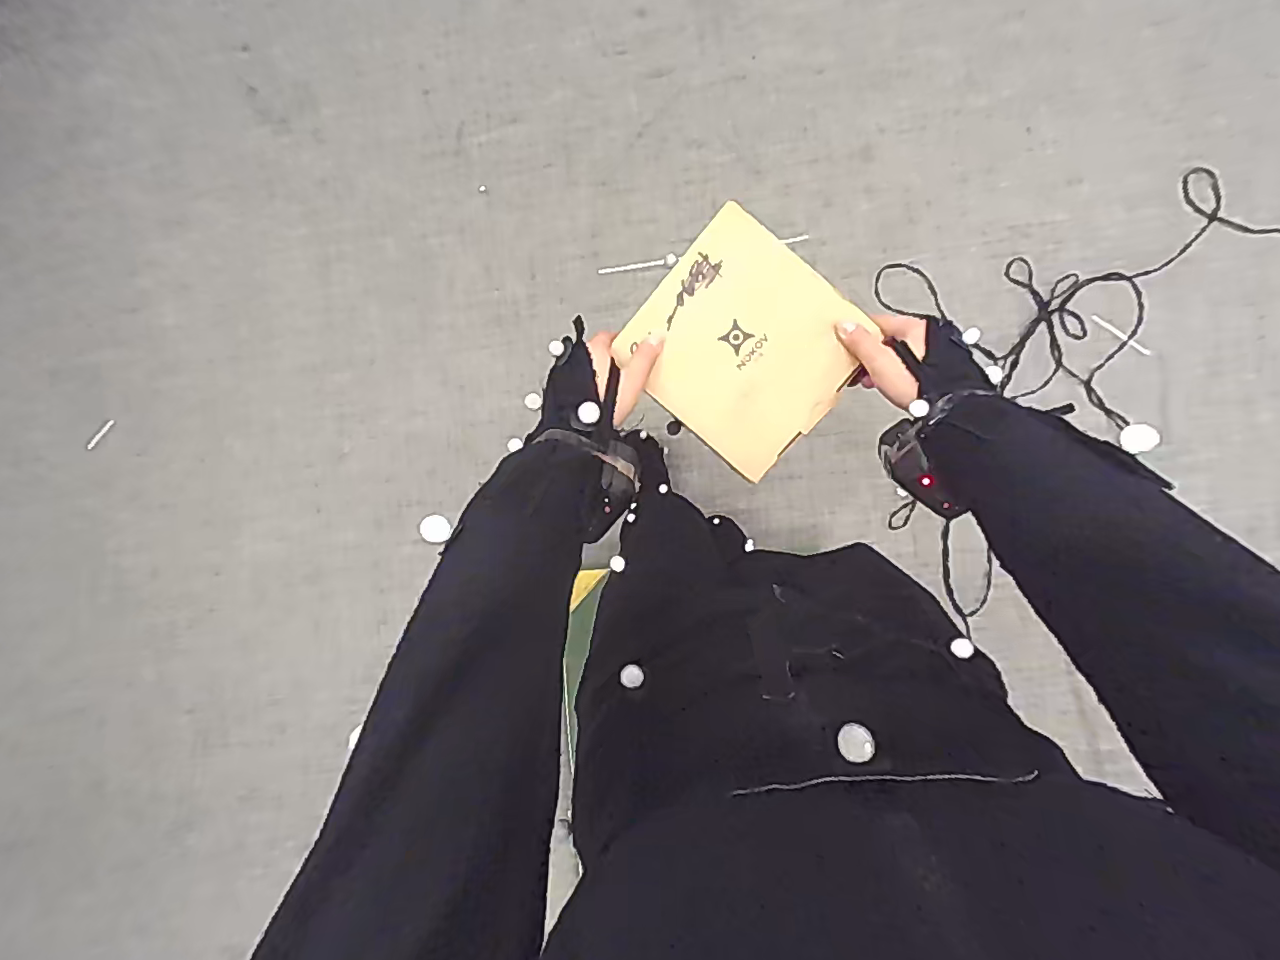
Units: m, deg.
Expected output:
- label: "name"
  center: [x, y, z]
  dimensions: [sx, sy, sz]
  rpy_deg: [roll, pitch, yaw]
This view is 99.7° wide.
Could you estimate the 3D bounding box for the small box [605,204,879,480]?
- label: "small box"
  center: [0.091, -0.125, 0.539]
  dimensions: [0.179, 0.176, 0.168]
  rpy_deg: [41, 97, -1]
